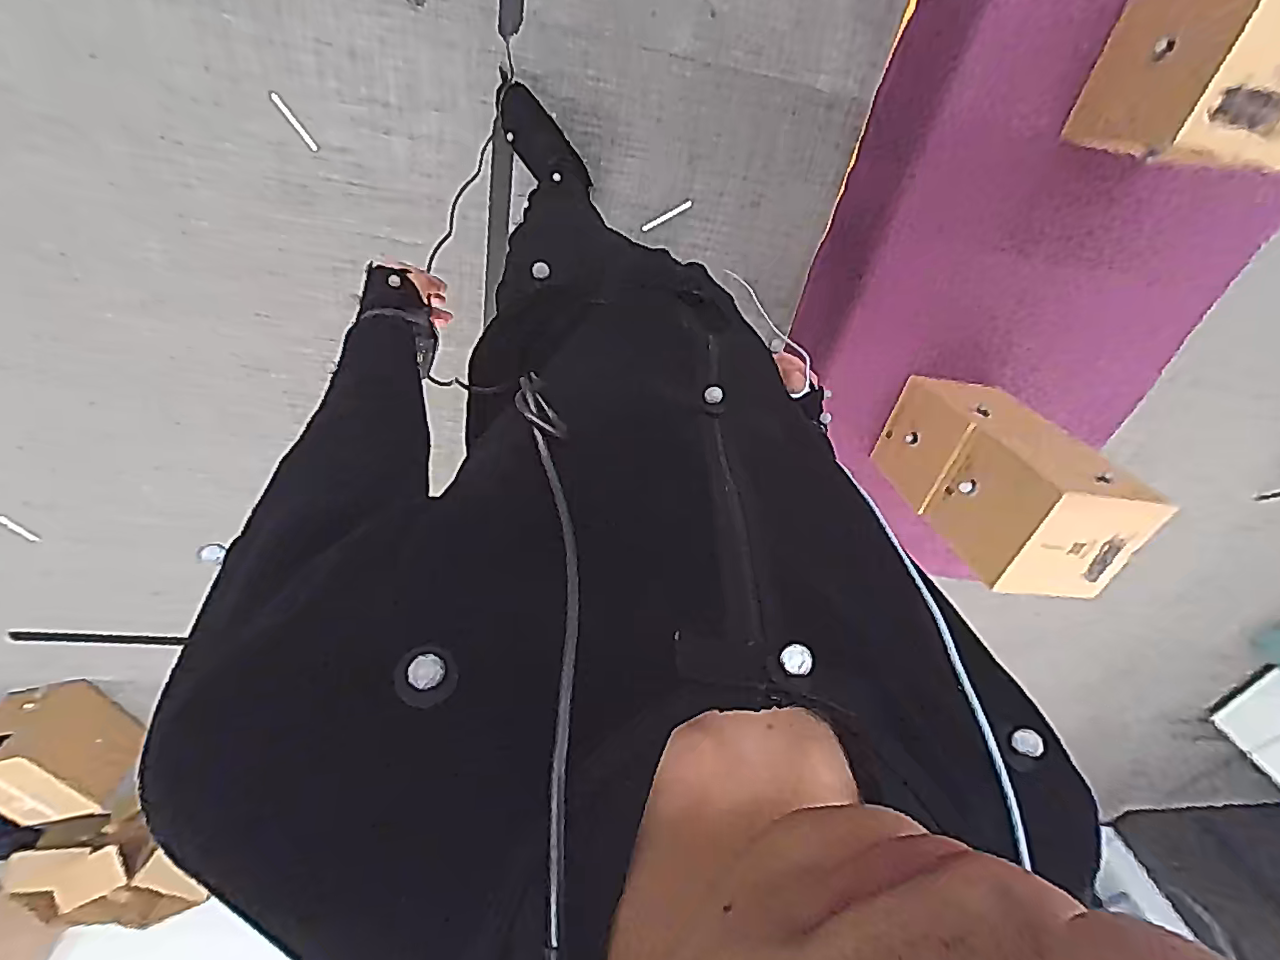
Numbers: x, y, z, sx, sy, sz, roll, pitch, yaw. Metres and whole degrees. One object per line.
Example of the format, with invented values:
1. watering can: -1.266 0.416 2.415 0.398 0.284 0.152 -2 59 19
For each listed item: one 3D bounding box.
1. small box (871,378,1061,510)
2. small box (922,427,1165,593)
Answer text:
1. small box: 0.521 -0.056 0.897 0.179 0.176 0.168 6 124 -12
2. small box: 0.550 0.039 0.766 0.179 0.176 0.168 6 123 -12
